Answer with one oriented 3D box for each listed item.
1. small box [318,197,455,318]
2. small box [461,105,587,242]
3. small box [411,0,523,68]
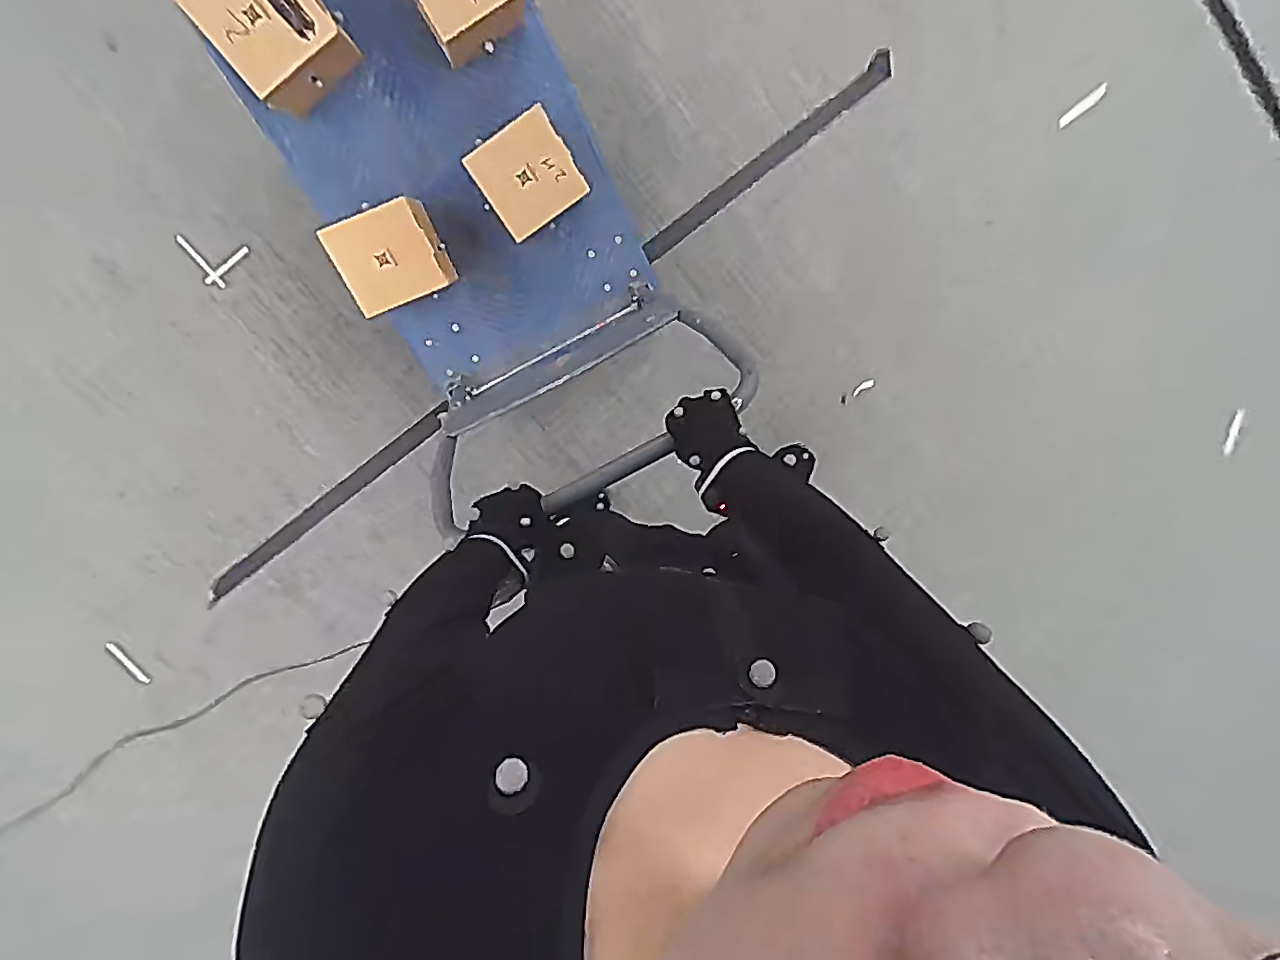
[{"bbox_3d":[-0.492,-0.442,1.084,0.179,0.176,0.168,-25,115,-2],"label":"small box"},{"bbox_3d":[-0.225,-0.594,1.073,0.179,0.176,0.168,-34,116,4],"label":"small box"},{"bbox_3d":[-0.320,-0.867,0.934,0.168,0.176,0.179,-32,117,3],"label":"small box"}]
